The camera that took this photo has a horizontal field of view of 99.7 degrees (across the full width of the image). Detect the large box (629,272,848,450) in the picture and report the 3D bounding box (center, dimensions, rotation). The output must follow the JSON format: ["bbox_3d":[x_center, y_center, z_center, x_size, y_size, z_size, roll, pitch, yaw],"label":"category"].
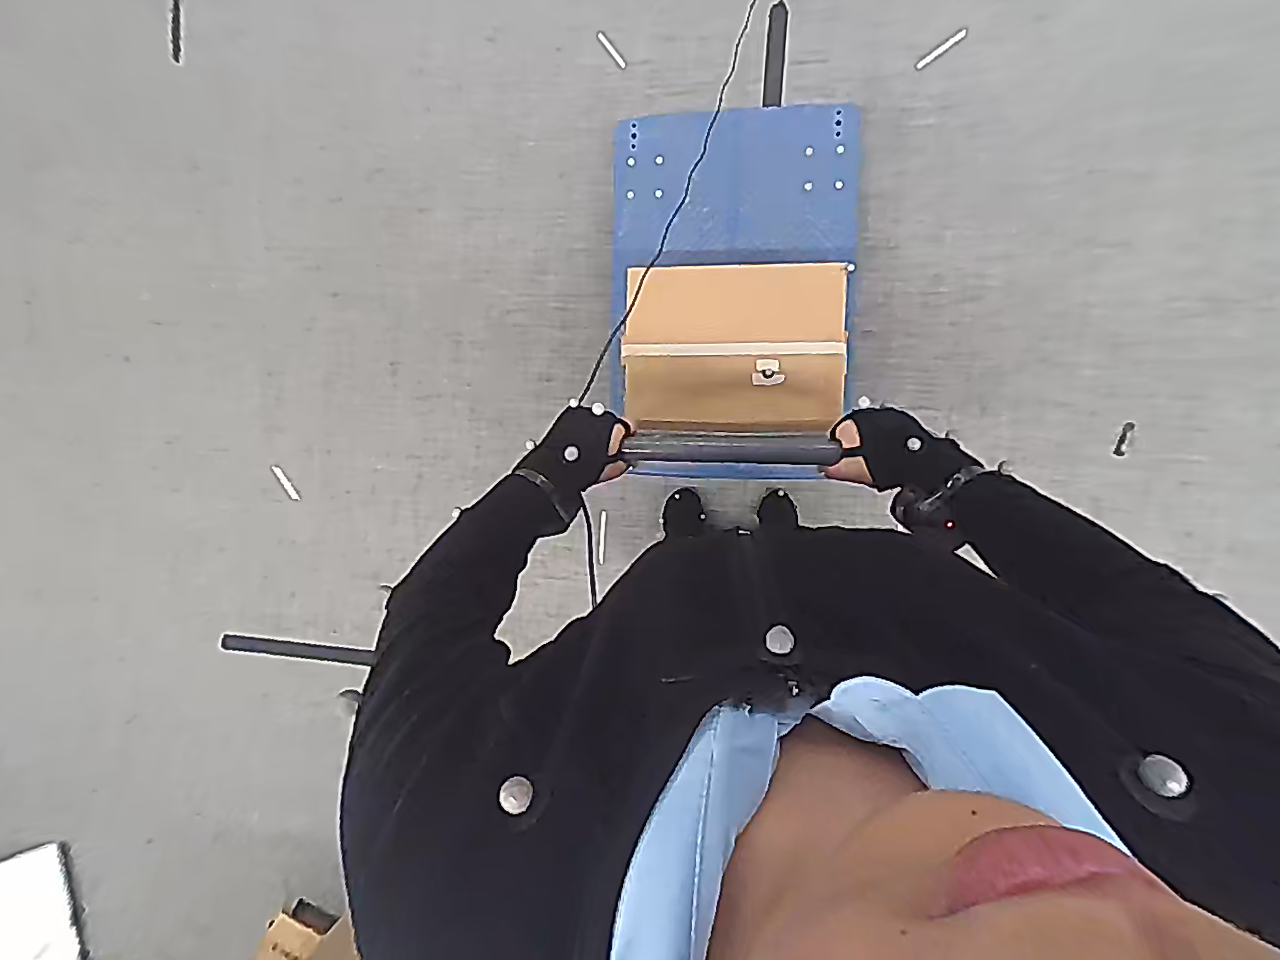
[{"bbox_3d":[0.193,-0.226,1.146,0.408,0.320,0.320,1,92,7],"label":"large box"}]
